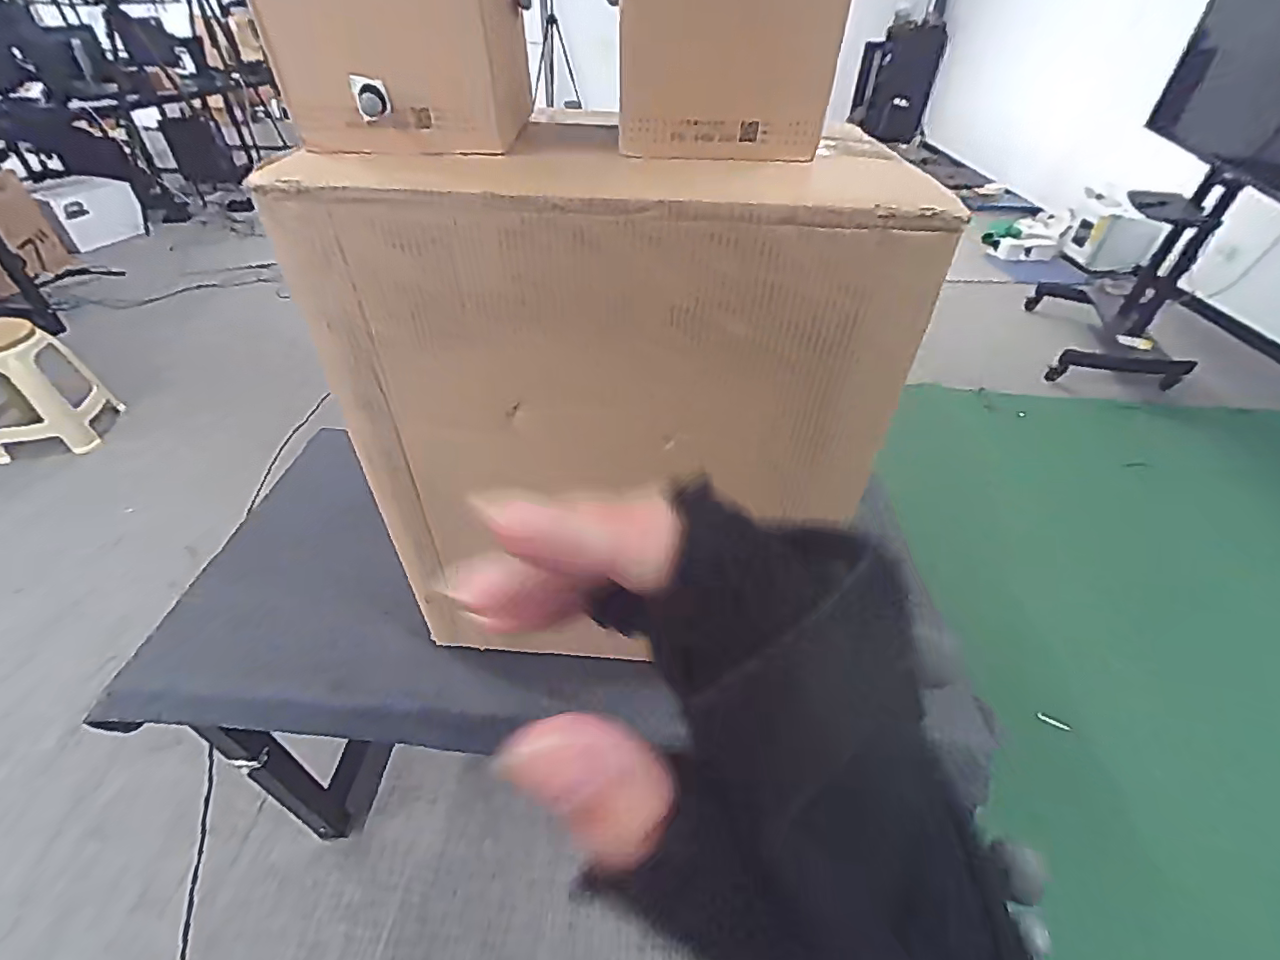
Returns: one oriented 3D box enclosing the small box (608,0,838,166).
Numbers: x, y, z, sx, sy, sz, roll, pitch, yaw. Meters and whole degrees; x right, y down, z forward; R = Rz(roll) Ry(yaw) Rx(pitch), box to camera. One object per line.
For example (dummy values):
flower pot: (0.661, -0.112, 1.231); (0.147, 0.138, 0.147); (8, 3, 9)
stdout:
small box: (0.058, -0.382, 0.456); (0.168, 0.176, 0.179); (0, 43, -1)

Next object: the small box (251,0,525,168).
small box: (-0.197, -0.375, 0.447); (0.168, 0.176, 0.179); (-2, 45, 0)
